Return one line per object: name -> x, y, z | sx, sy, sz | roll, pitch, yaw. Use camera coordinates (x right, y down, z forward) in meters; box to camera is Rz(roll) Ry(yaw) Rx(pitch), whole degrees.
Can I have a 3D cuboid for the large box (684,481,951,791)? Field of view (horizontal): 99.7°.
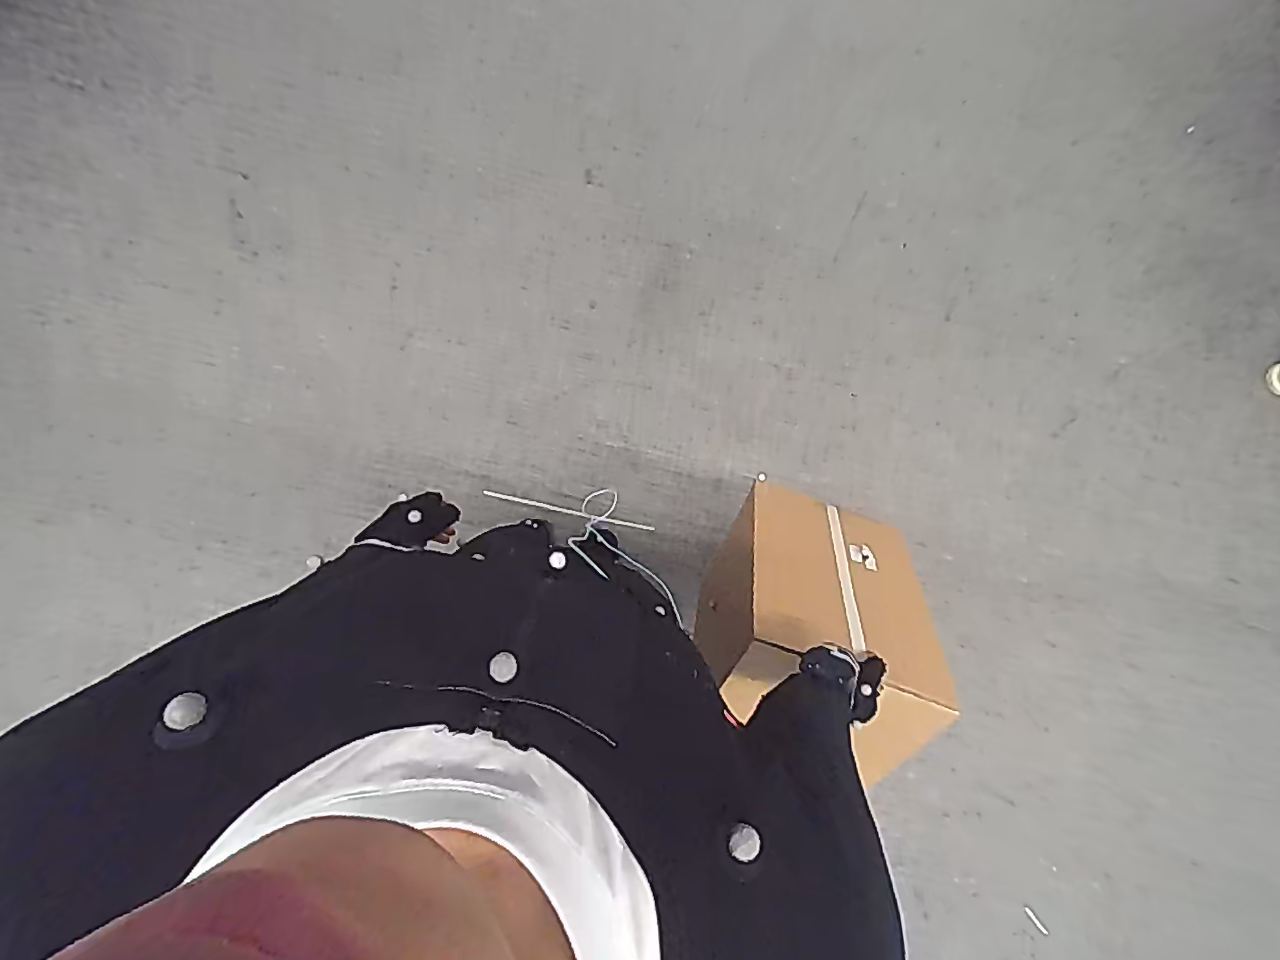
large box -> 0.289, 0.274, 1.006 | 0.320, 0.408, 0.320 | 21, 125, -2
